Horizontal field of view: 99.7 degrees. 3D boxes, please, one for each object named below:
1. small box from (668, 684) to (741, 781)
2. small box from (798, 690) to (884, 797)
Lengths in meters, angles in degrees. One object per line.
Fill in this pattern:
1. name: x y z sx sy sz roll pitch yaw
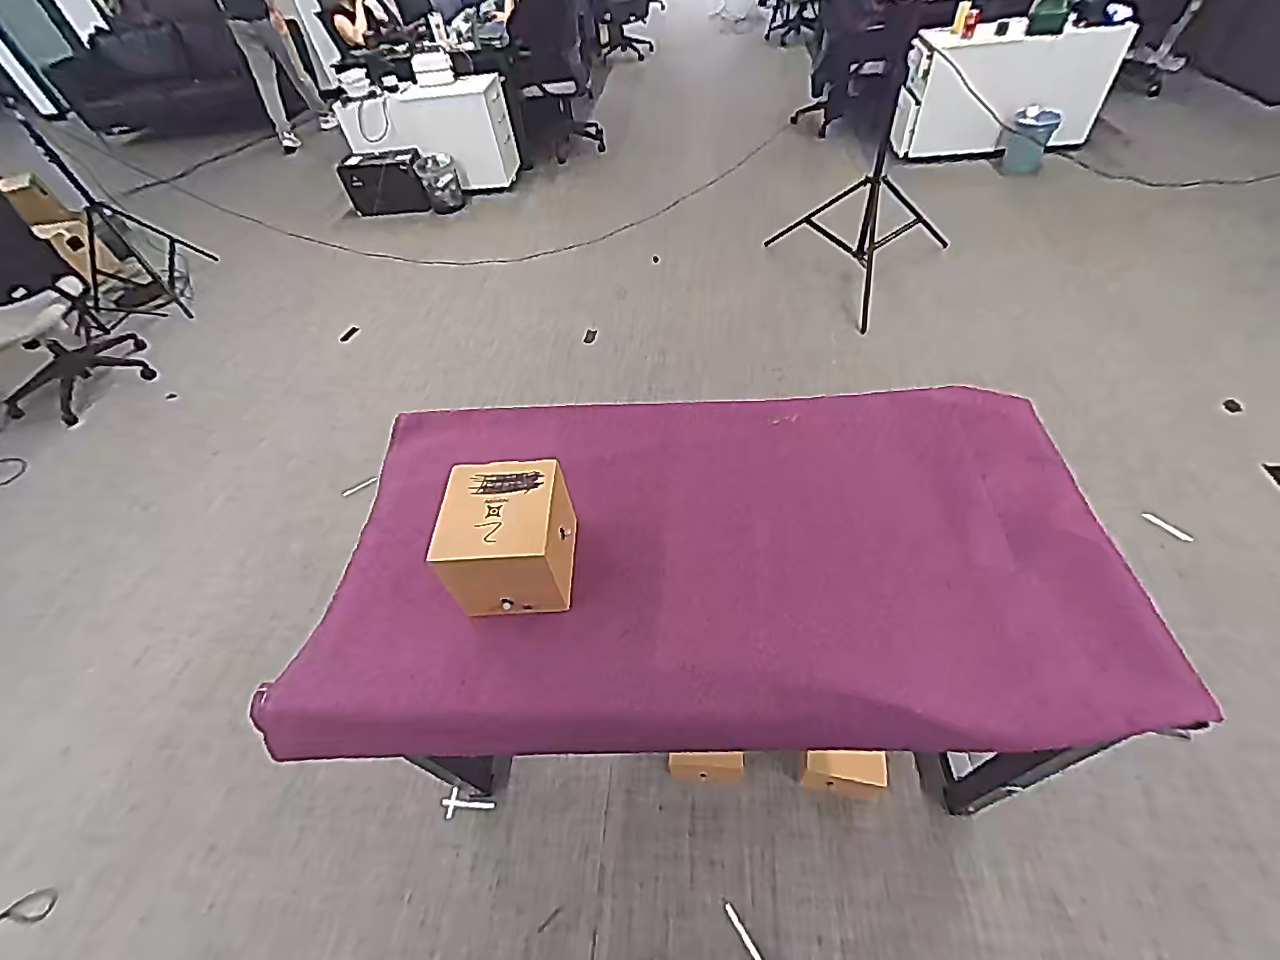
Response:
1. small box: 0.161 0.616 1.311 0.168 0.176 0.179 1 50 7
2. small box: 0.466 0.621 1.269 0.168 0.176 0.179 6 50 13
